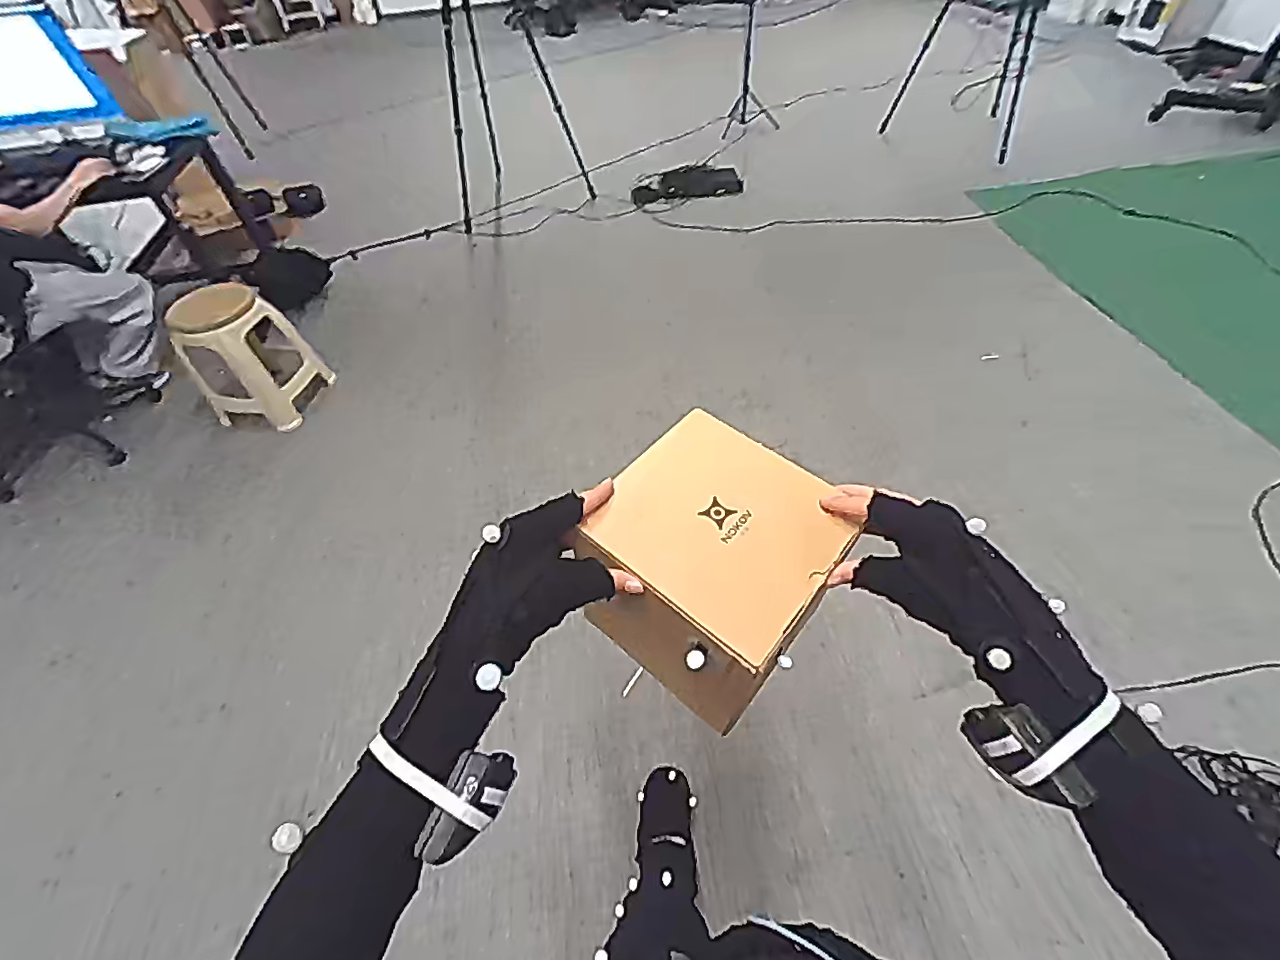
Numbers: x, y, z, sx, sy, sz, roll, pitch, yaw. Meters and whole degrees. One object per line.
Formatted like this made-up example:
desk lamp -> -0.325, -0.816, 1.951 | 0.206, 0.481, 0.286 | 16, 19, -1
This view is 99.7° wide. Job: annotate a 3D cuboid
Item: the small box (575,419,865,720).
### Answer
small box -> 0.062, 0.083, 0.490 | 0.179, 0.176, 0.168 | 34, 59, 23
